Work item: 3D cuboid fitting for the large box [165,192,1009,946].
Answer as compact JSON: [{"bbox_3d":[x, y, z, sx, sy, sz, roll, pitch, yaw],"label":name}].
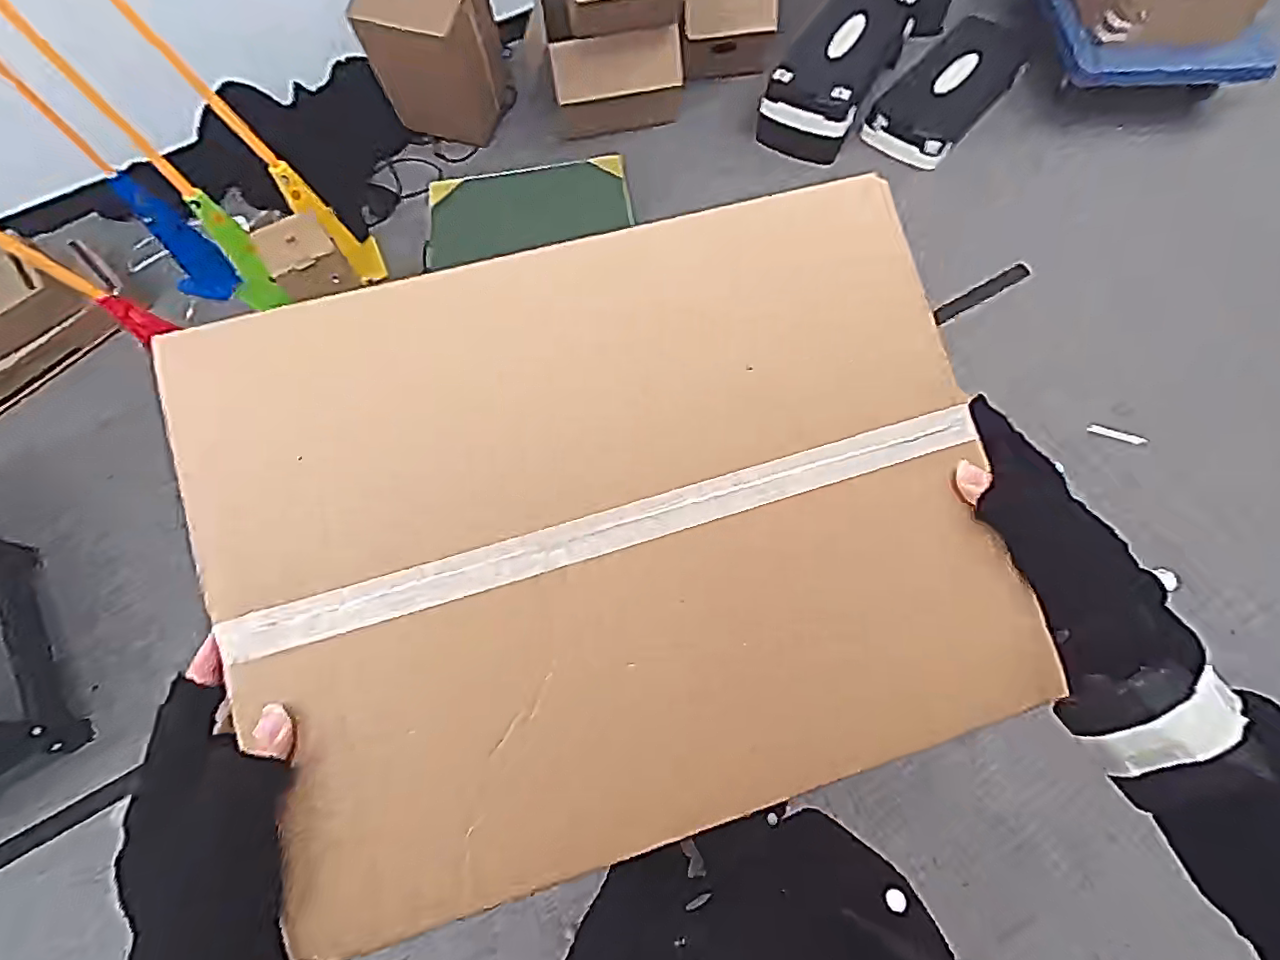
[{"bbox_3d":[-0.031,0.039,0.443,0.408,0.320,0.320,-16,84,-7],"label":"large box"}]
